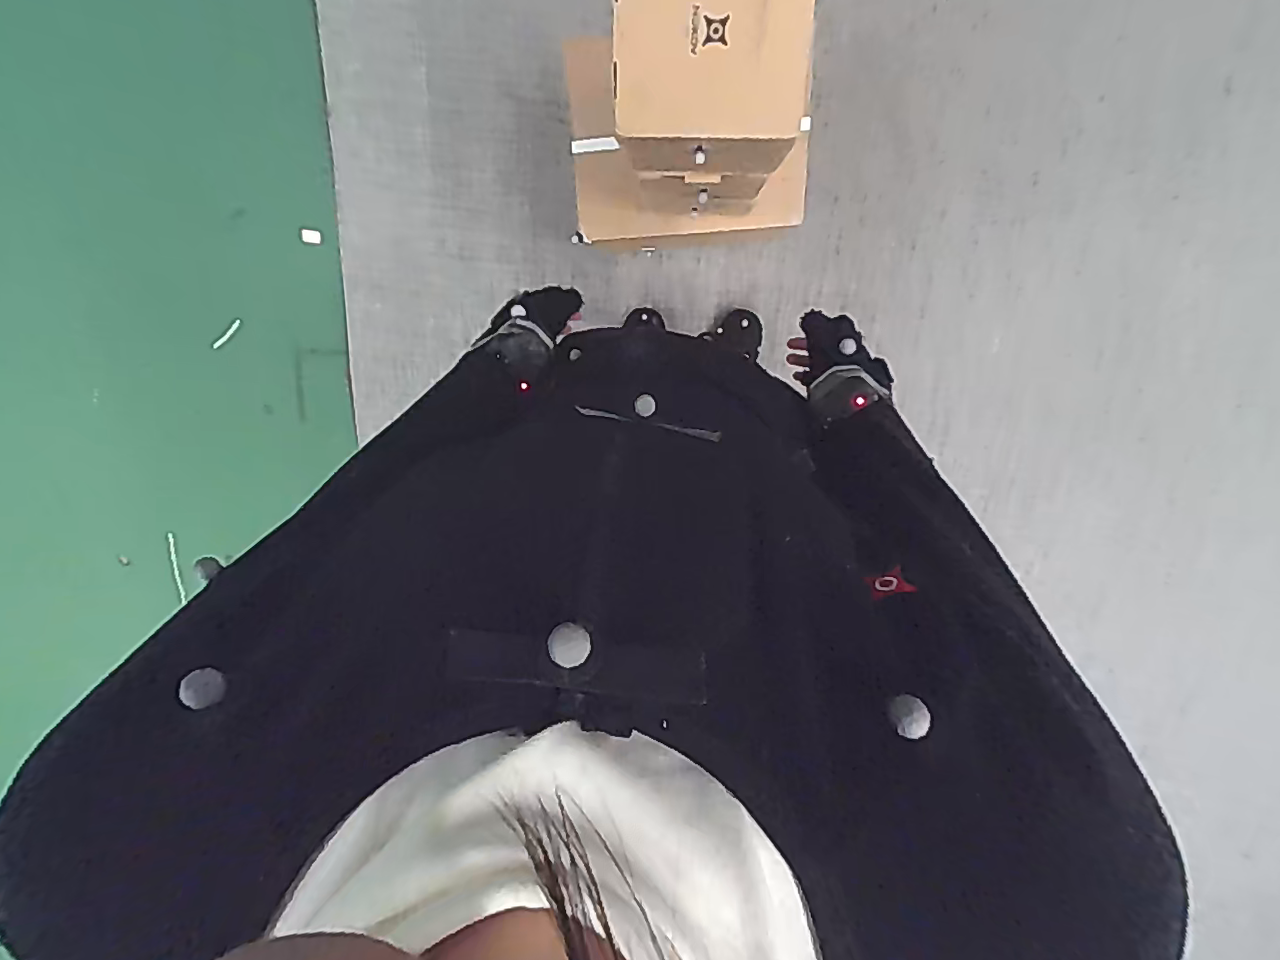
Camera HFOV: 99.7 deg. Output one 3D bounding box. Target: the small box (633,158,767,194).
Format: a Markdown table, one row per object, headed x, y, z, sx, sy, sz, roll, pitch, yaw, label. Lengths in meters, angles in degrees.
| x | y | z | sx | sy | sz | roll | pitch | yaw | label |
| --- | --- | --- | --- | --- | --- | --- | --- | --- | --- |
| 0.083 | -0.479 | 0.704 | 0.168 | 0.176 | 0.179 | 3 | 110 | 5 | small box |

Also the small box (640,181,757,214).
| x | y | z | sx | sy | sz | roll | pitch | yaw | label |
| --- | --- | --- | --- | --- | --- | --- | --- | --- | --- |
| 0.097 | -0.526 | 0.859 | 0.179 | 0.176 | 0.168 | 4 | 110 | 6 | small box |

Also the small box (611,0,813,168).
| x | y | z | sx | sy | sz | roll | pitch | yaw | label |
| --- | --- | --- | --- | --- | --- | --- | --- | --- | --- |
| 0.070 | -0.426 | 0.550 | 0.179 | 0.176 | 0.168 | 3 | 111 | 4 | small box |
